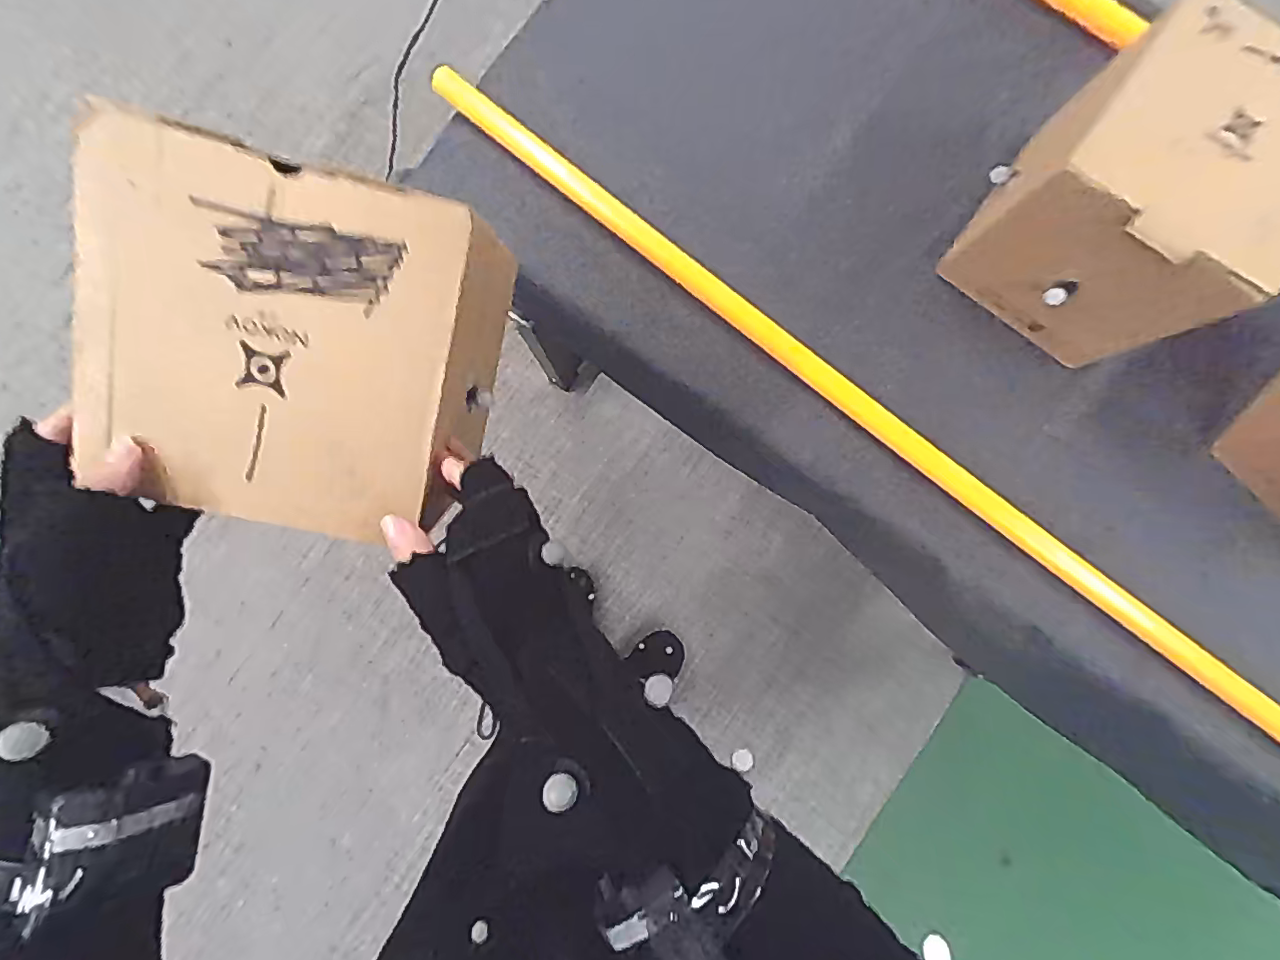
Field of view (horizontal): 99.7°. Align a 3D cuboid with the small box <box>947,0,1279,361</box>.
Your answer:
[{"bbox_3d":[0.402,-0.230,0.460,0.168,0.176,0.179,34,85,3],"label":"small box"}]

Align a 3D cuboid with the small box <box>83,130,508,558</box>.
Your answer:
[{"bbox_3d":[-0.187,-0.075,0.345,0.168,0.176,0.179,13,103,-8],"label":"small box"}]
